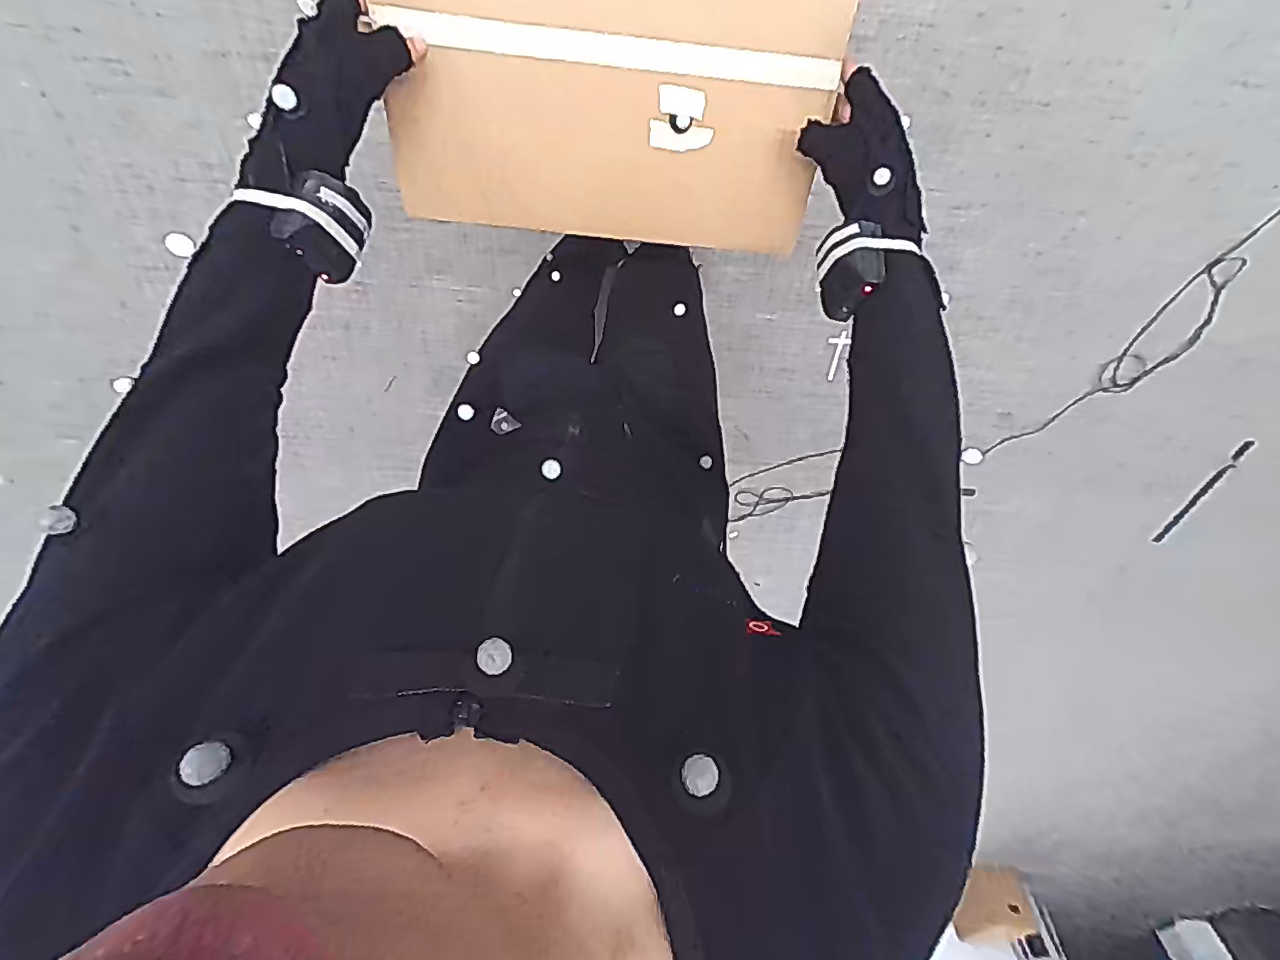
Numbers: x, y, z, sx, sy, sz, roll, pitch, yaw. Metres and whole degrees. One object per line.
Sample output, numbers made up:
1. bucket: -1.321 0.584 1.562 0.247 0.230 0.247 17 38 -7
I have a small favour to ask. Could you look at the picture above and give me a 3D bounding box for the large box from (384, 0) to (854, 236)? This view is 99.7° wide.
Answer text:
1. large box: -0.023 -0.483 0.583 0.408 0.320 0.320 3 131 -4
